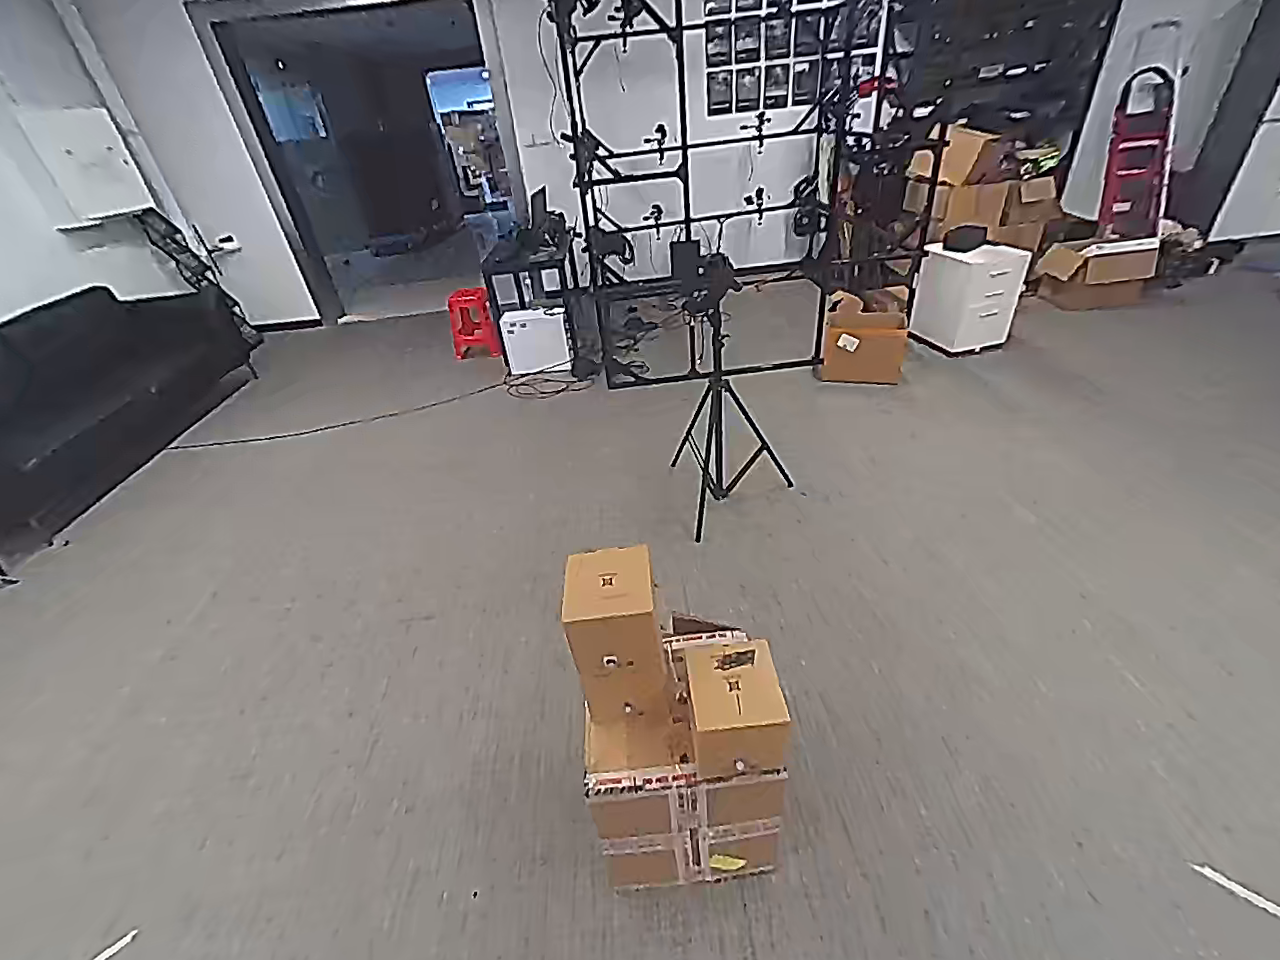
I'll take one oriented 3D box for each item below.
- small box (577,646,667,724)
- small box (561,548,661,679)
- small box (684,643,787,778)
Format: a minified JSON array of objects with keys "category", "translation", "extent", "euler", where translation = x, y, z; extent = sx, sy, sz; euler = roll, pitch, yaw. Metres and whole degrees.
[{"category":"small box","translation":[-0.036,0.391,1.156],"extent":[0.168,0.176,0.179],"euler":[-7,36,1]},{"category":"small box","translation":[-0.052,0.260,1.061],"extent":[0.168,0.176,0.179],"euler":[-8,36,2]},{"category":"small box","translation":[0.175,0.444,1.047],"extent":[0.168,0.176,0.179],"euler":[-6,36,0]}]
